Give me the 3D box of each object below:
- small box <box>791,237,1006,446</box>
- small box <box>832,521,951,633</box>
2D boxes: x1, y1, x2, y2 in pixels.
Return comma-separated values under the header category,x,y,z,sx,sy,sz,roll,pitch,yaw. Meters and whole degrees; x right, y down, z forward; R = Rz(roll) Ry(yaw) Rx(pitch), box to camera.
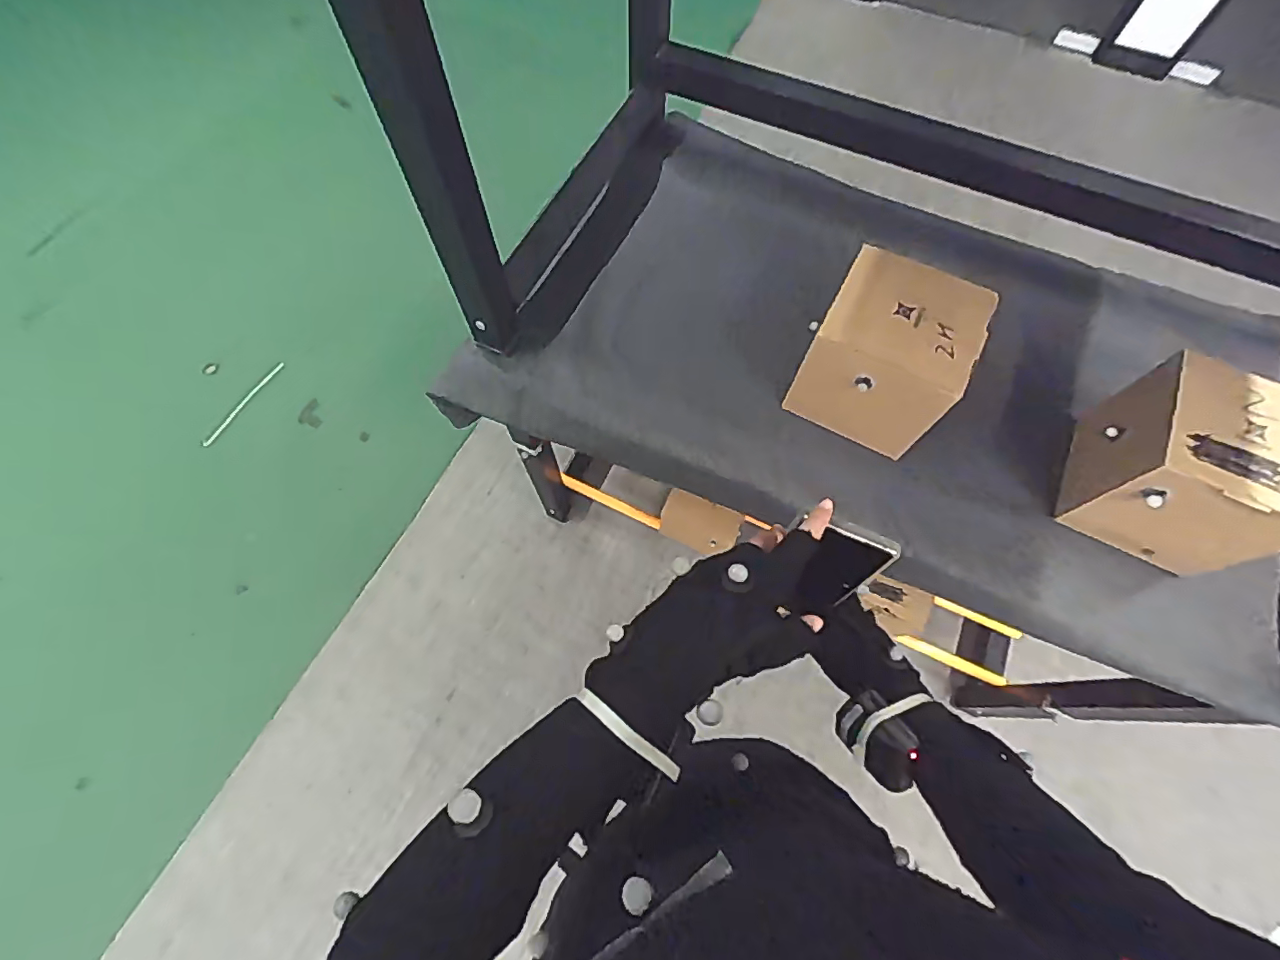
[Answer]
category,x,y,z,sx,sy,sz,roll,pitch,yaw
small box,0.320,-0.169,0.703,0.179,0.176,0.168,28,70,10
small box,0.553,0.226,1.215,0.168,0.176,0.179,28,70,10
